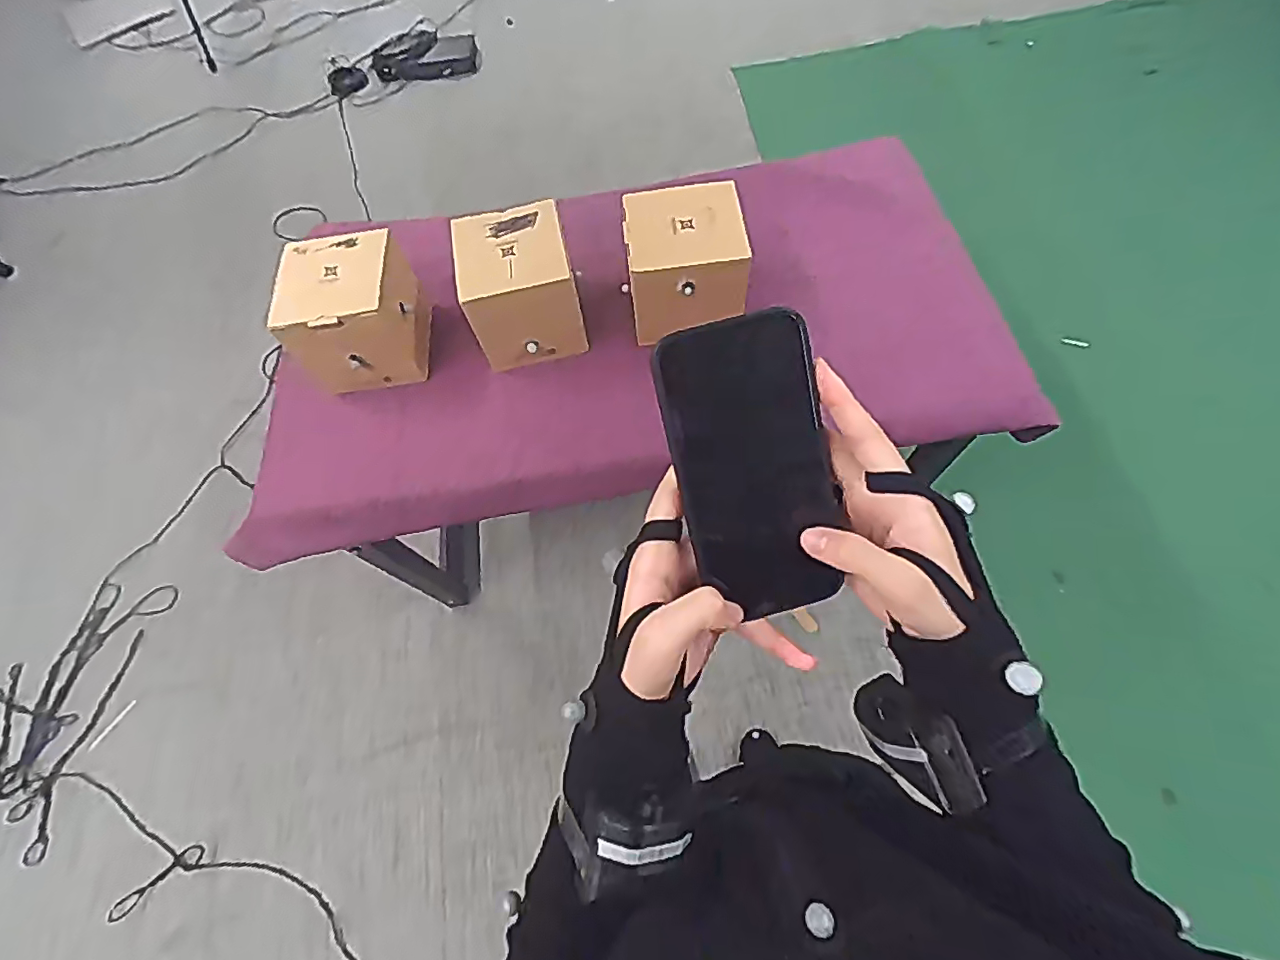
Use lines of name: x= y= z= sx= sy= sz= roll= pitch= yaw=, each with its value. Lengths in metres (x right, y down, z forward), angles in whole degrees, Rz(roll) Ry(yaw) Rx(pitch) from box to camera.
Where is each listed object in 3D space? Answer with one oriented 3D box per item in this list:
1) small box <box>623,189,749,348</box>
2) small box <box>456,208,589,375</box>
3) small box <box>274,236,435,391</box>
small box: x=0.072 y=-0.332 z=0.873 sx=0.179 sy=0.176 sz=0.168 roll=-6 pitch=64 yaw=2
small box: x=-0.187 y=-0.301 z=0.881 sx=0.168 sy=0.176 sz=0.179 roll=-13 pitch=64 yaw=-1
small box: x=-0.451 y=-0.260 z=0.885 sx=0.168 sy=0.176 sz=0.179 roll=-8 pitch=64 yaw=1
